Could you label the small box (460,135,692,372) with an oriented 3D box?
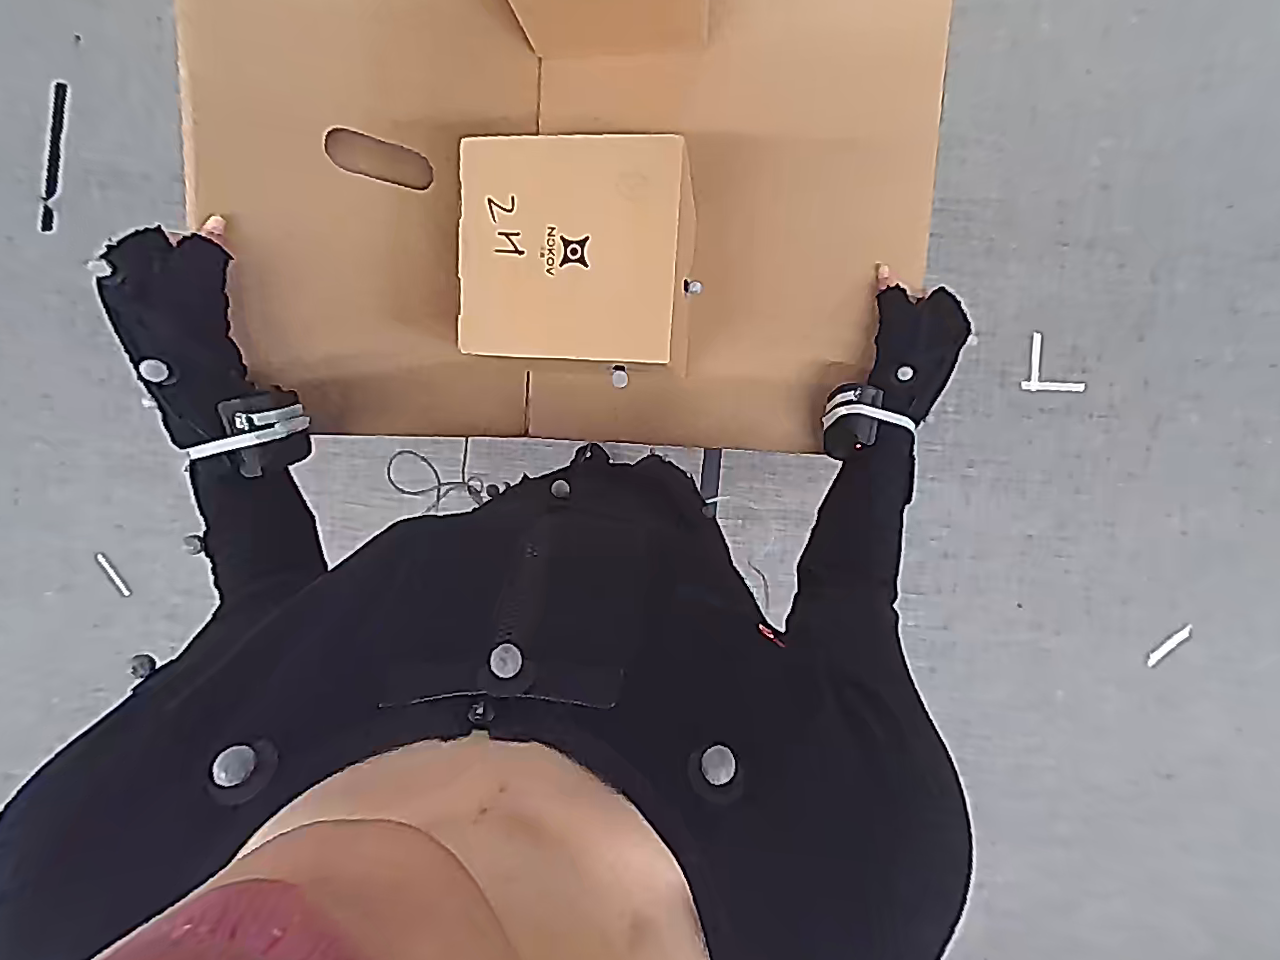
[{"bbox_3d":[-0.046,-0.193,0.503,0.179,0.176,0.168,5,97,9],"label":"small box"}]
